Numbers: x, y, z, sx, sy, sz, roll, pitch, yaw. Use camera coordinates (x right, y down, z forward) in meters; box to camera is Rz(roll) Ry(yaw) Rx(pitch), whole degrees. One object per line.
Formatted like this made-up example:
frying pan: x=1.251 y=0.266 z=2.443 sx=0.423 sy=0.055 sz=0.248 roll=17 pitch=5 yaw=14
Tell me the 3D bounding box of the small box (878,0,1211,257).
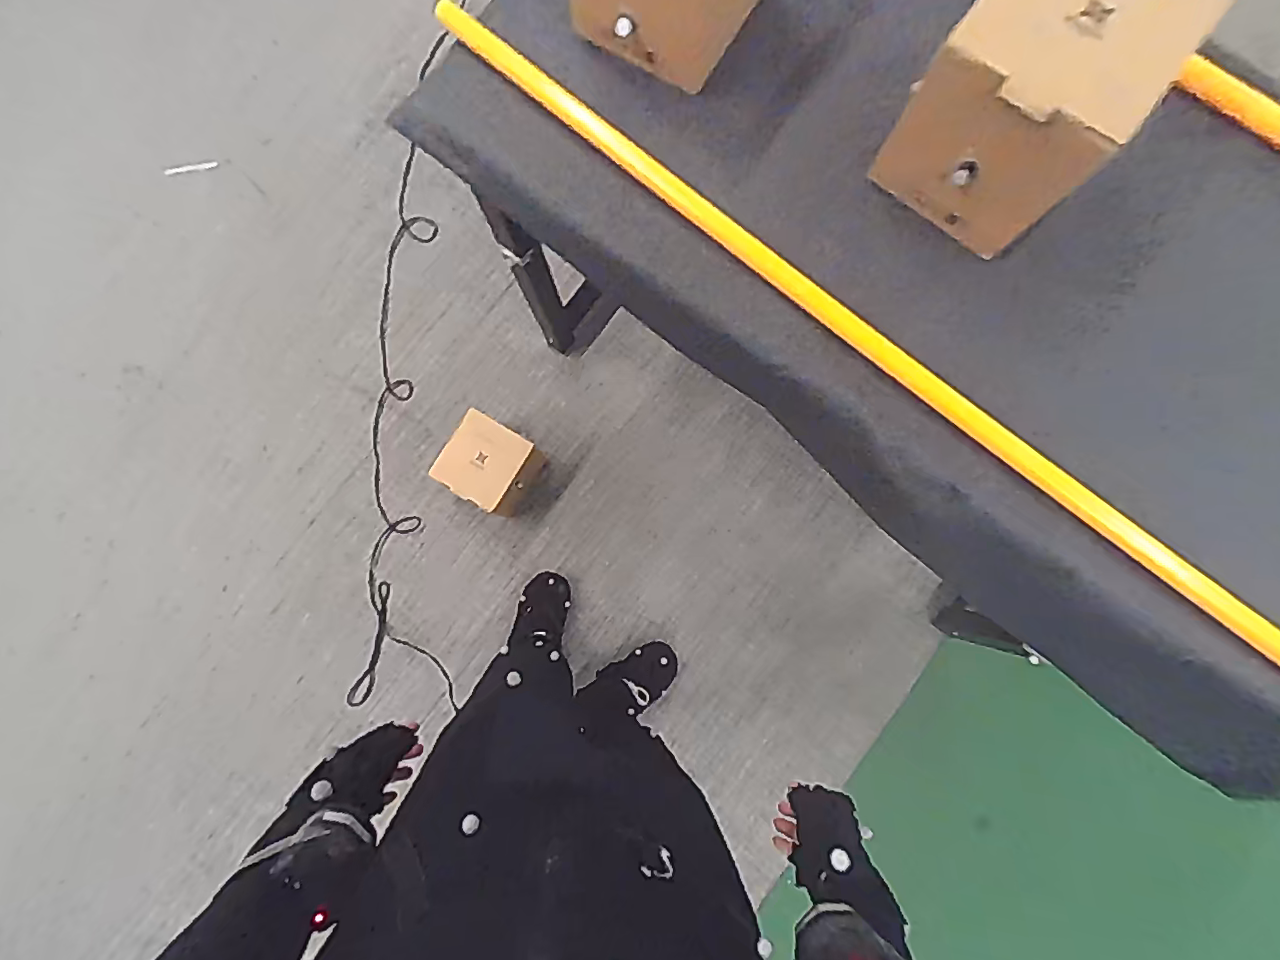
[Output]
small box: x=0.365 y=-0.361 z=0.530 sx=0.168 sy=0.176 sz=0.179 roll=35 pitch=83 yaw=7
